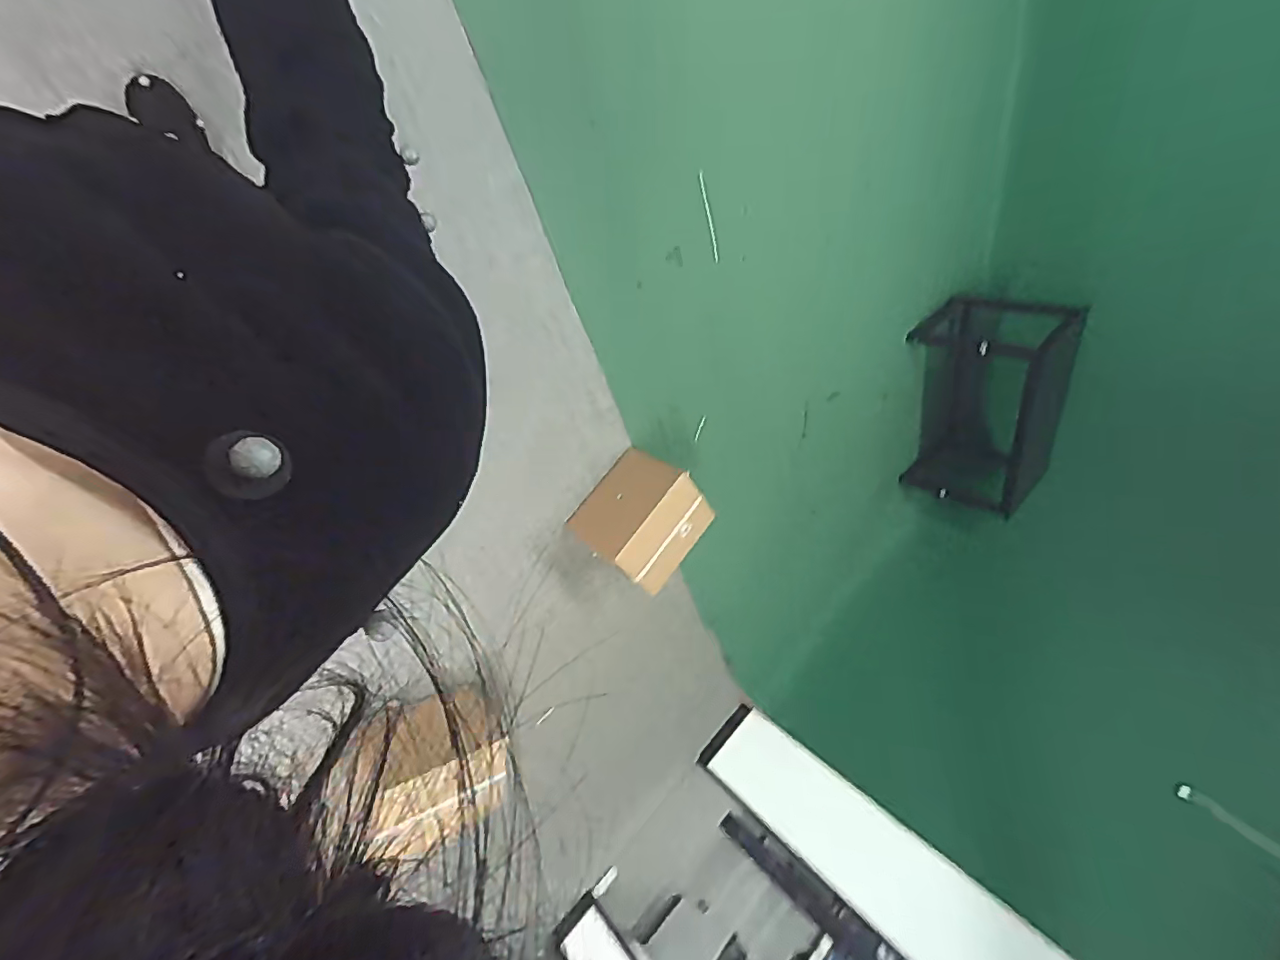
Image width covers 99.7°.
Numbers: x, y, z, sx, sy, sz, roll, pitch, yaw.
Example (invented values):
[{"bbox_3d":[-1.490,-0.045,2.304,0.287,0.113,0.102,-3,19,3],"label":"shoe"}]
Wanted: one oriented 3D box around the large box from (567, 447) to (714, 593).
[{"bbox_3d":[0.004,0.146,2.060,0.408,0.320,0.320,-52,136,-13],"label":"large box"}]
